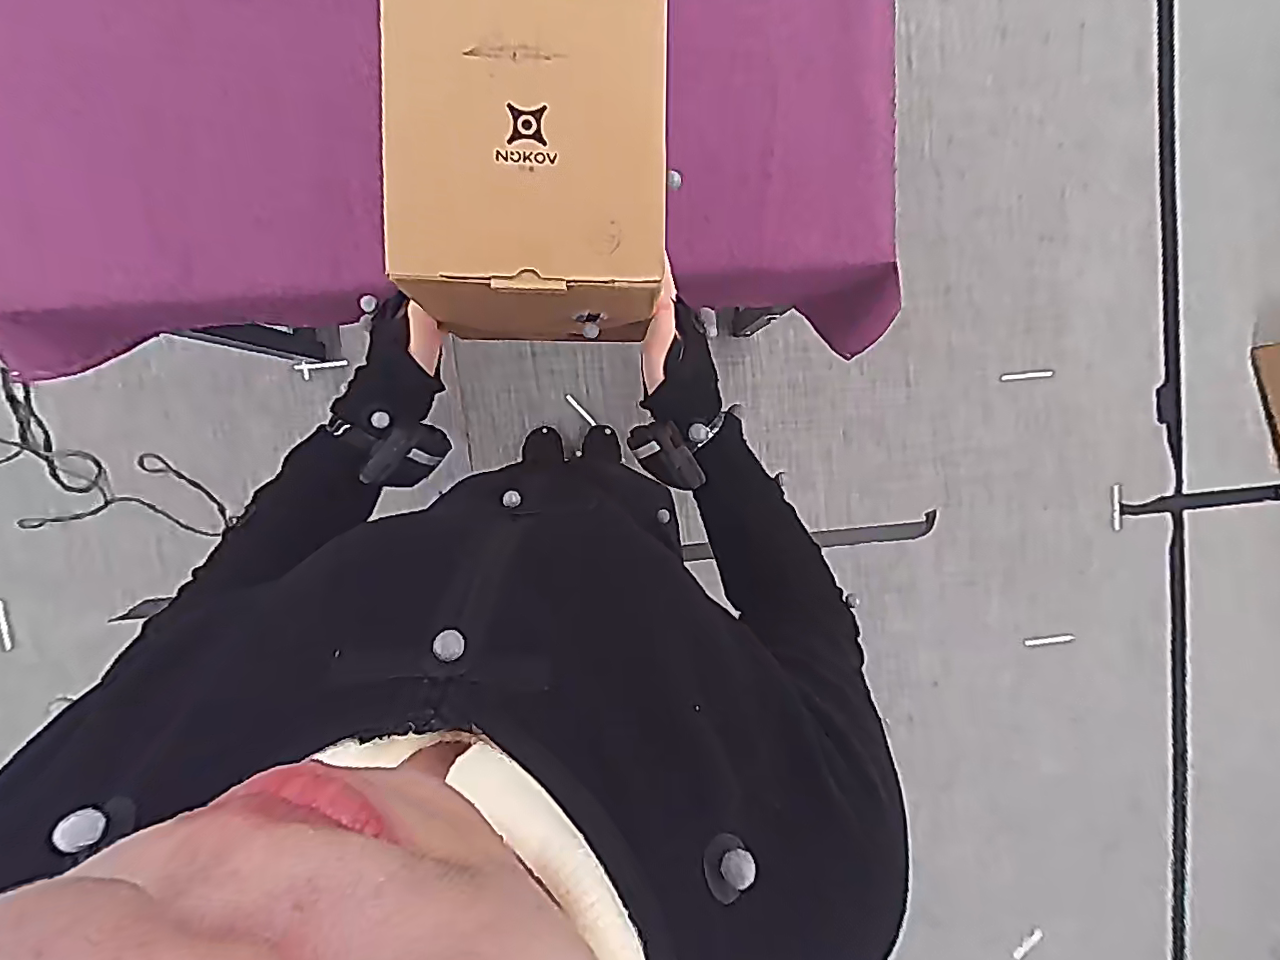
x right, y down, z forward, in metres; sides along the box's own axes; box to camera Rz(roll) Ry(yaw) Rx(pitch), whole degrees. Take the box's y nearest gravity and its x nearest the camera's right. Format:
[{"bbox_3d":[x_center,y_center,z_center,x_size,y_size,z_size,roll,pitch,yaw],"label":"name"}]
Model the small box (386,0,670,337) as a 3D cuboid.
[{"bbox_3d":[-0.070,-0.208,0.398,0.168,0.176,0.179,0,93,-5],"label":"small box"}]
